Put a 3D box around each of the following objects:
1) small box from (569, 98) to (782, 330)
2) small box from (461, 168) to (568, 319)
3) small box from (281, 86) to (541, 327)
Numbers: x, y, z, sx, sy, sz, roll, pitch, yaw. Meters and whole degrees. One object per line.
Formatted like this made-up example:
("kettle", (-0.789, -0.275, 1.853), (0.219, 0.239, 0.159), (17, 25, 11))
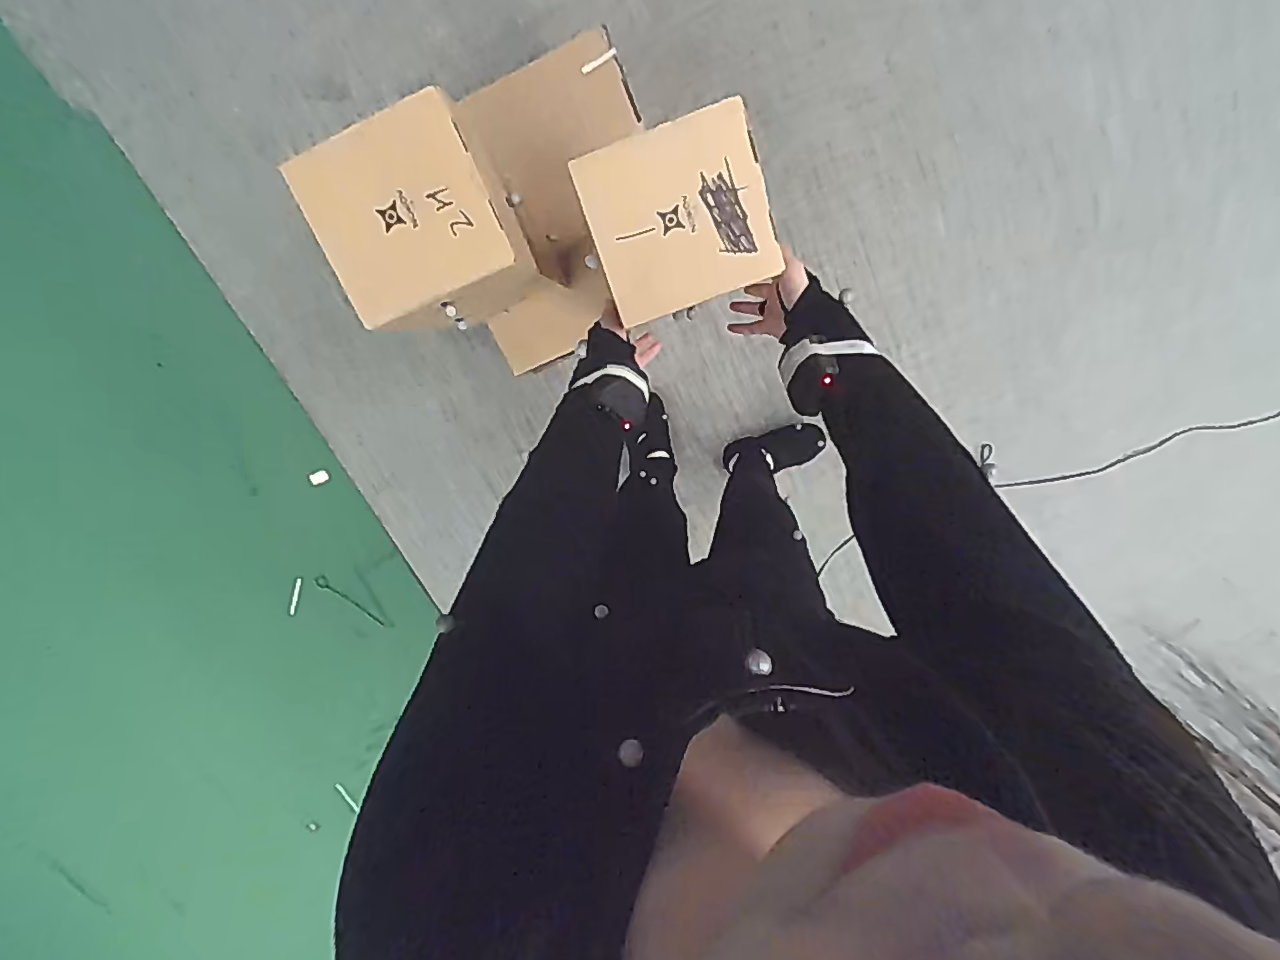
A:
("small box", (0.036, -0.278, 0.603), (0.179, 0.176, 0.168), (-18, 106, 5))
("small box", (-0.236, -0.383, 0.911), (0.168, 0.176, 0.179), (-20, 104, 6))
("small box", (-0.231, -0.278, 0.597), (0.179, 0.176, 0.168), (-22, 105, 7))
